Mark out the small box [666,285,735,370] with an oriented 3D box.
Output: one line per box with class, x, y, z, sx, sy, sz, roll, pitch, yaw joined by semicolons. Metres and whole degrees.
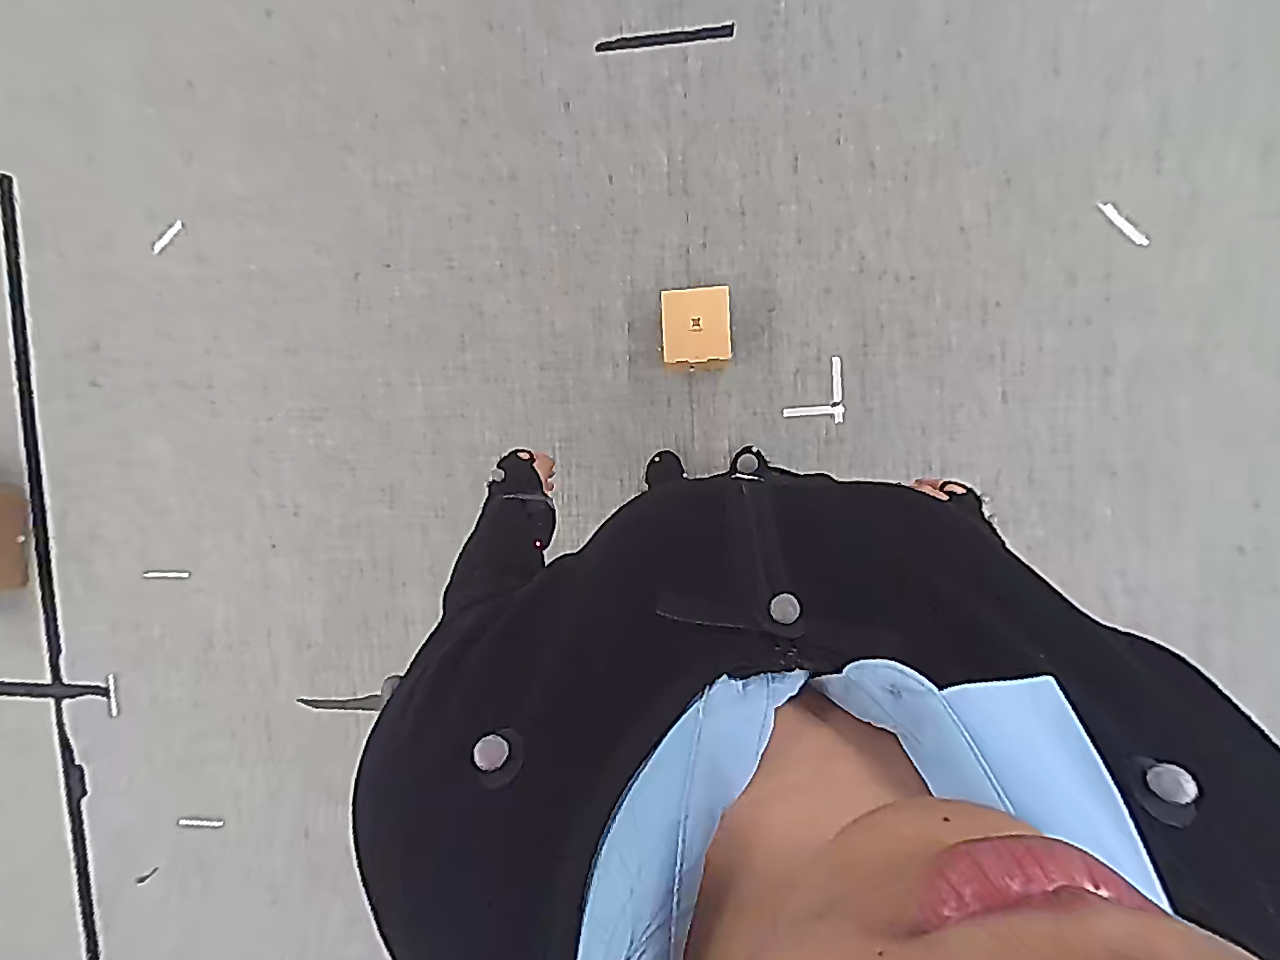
small box;0.152;-0.384;1.386;0.168;0.176;0.179;-3;94;5
